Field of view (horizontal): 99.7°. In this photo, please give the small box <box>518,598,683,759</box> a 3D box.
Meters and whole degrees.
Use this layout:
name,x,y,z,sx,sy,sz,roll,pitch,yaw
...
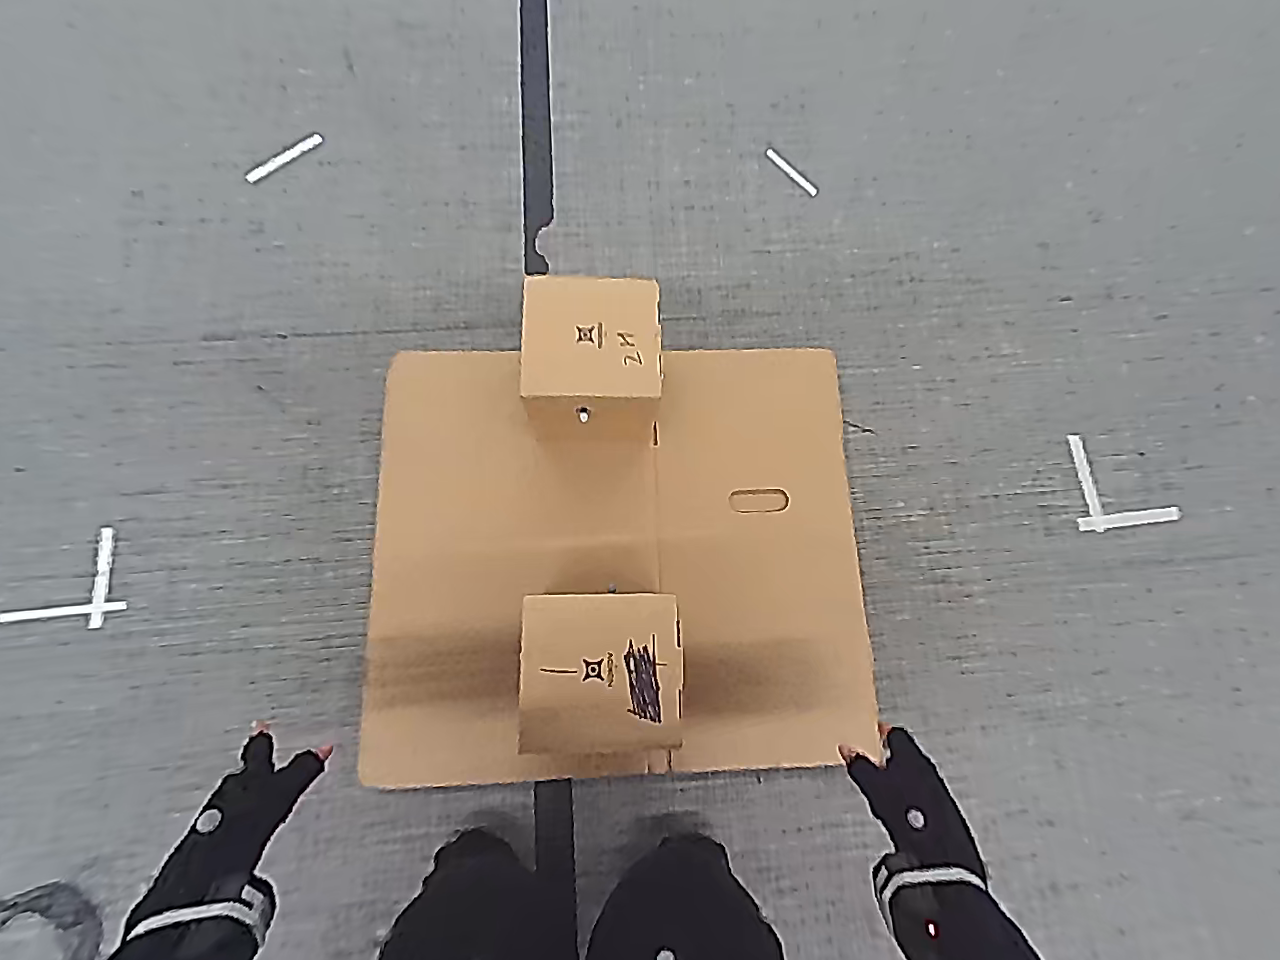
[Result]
name,x,y,z,sx,sy,sz,roll,pitch,yaw
small box,-0.047,0.231,0.664,0.179,0.176,0.168,1,77,-4

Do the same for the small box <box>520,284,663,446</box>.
name,x,y,z,sx,sy,sz,roll,pitch,yaw
small box,-0.063,-0.150,0.753,0.179,0.176,0.168,1,76,-4
